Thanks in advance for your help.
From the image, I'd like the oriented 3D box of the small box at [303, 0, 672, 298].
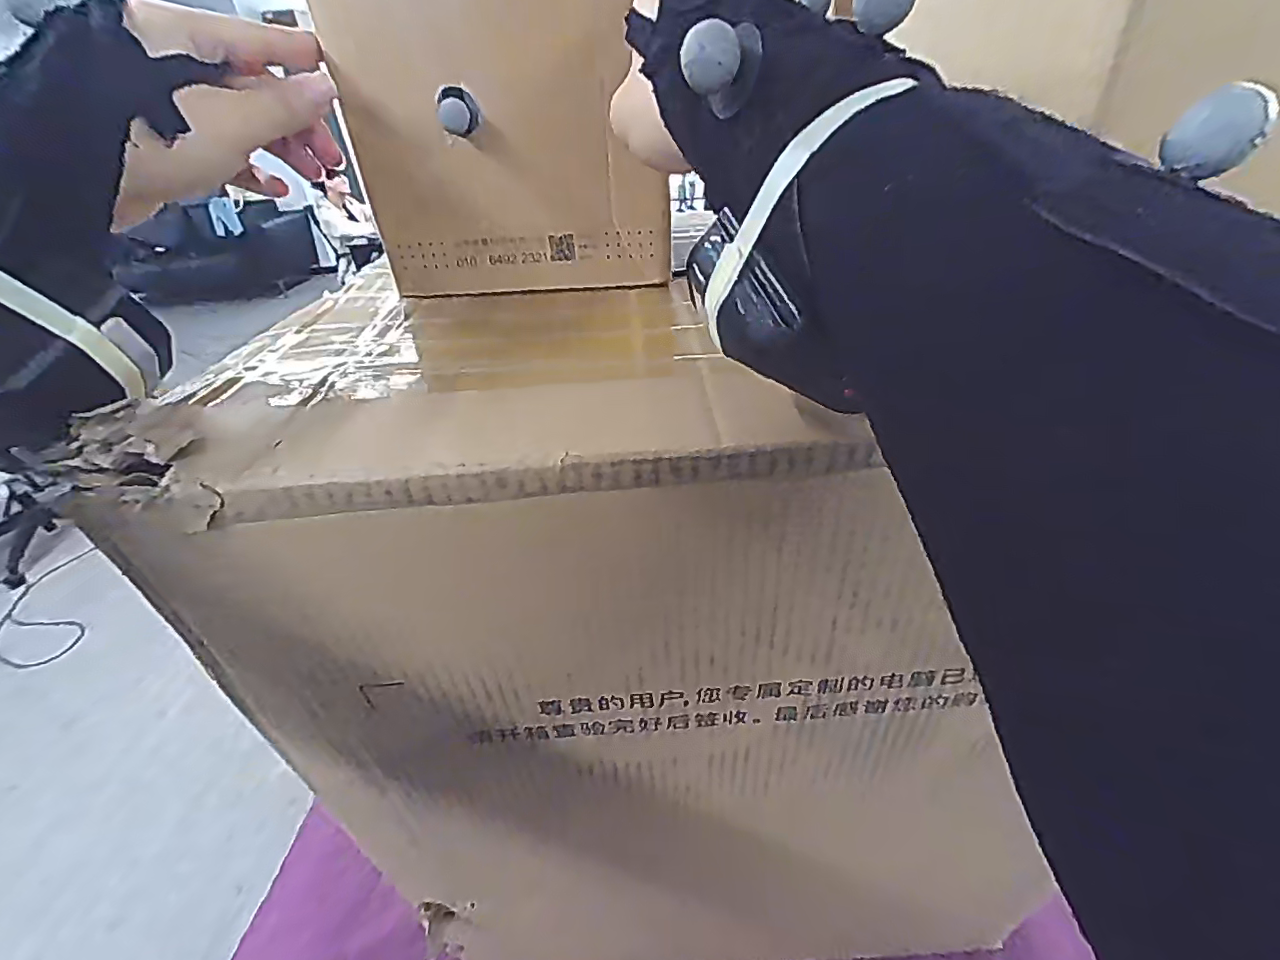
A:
[{"bbox_3d":[-0.067,-0.222,0.347,0.168,0.176,0.179,-3,36,2],"label":"small box"}]
